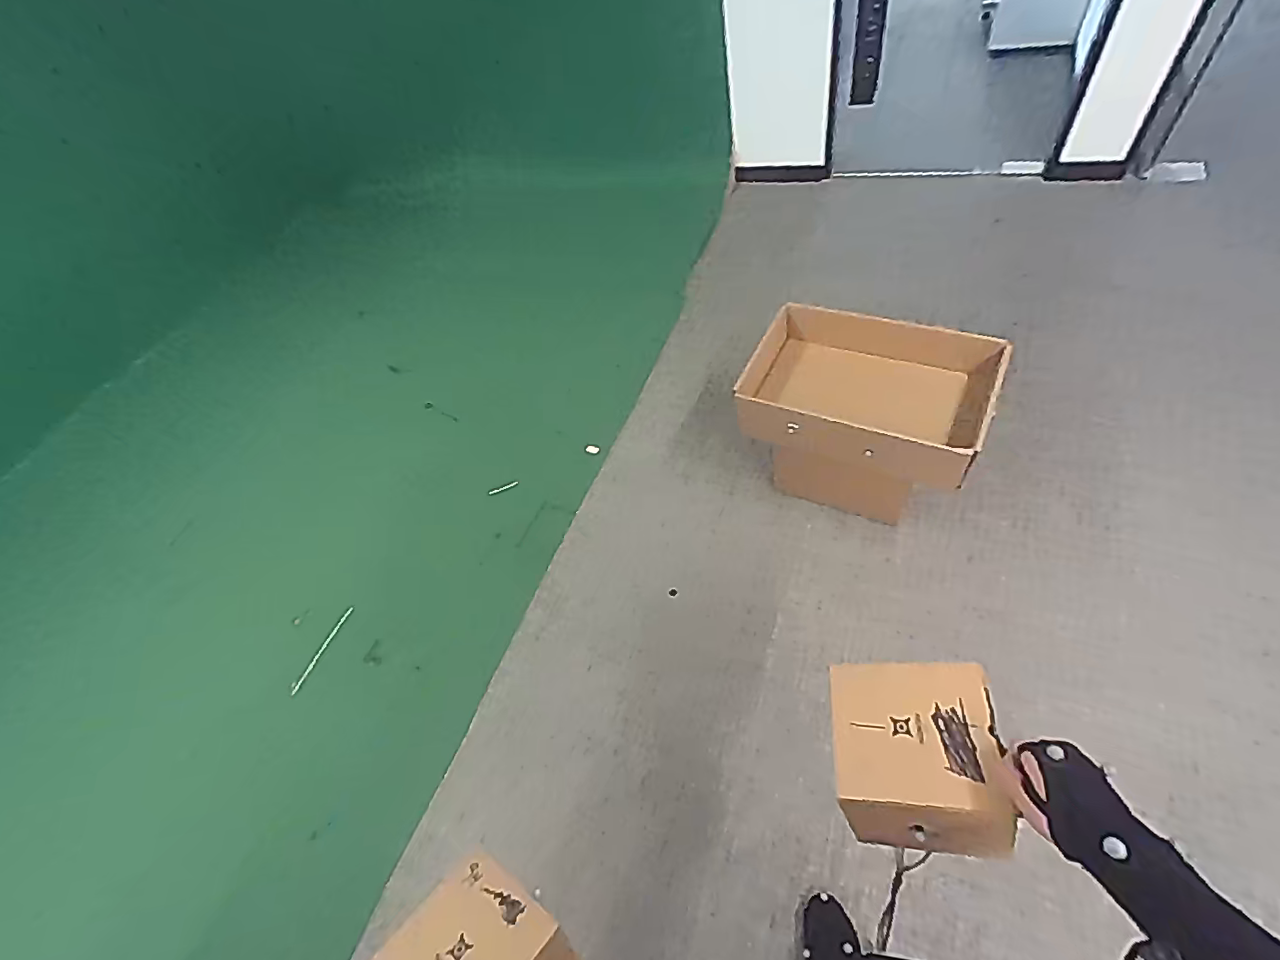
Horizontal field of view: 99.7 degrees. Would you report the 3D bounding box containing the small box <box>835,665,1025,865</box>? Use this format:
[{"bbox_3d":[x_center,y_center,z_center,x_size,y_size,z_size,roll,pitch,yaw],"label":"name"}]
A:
[{"bbox_3d":[0.344,0.344,0.660,0.179,0.176,0.168,-9,40,25],"label":"small box"}]

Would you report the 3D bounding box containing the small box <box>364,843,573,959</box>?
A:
[{"bbox_3d":[-0.174,0.560,0.583,0.168,0.176,0.179,6,31,43],"label":"small box"}]
